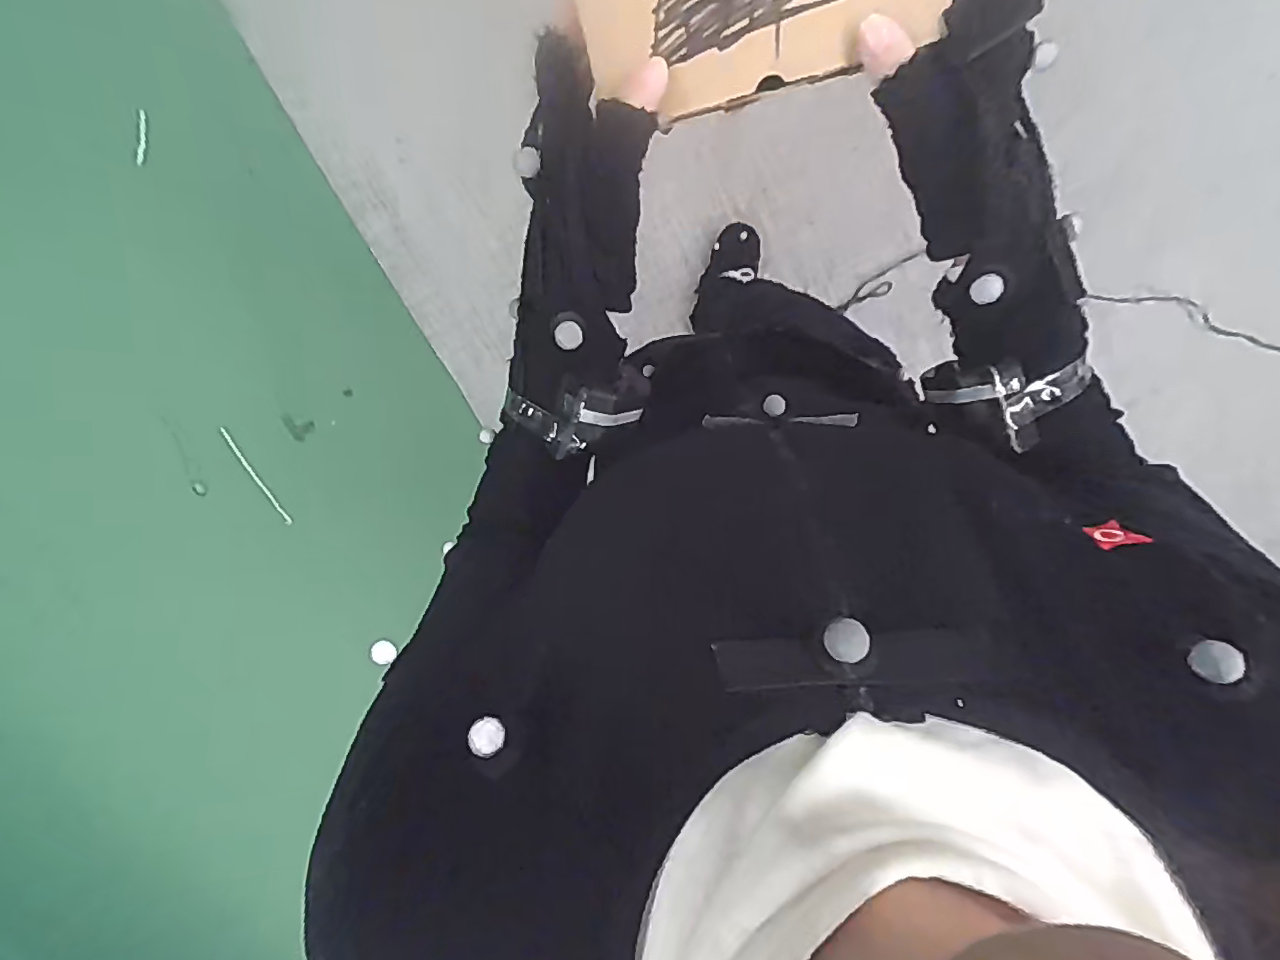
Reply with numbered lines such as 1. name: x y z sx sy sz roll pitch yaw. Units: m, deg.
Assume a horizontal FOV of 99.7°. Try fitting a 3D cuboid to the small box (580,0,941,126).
1. small box: 0.045 -0.313 0.282 0.168 0.176 0.179 -11 126 8
